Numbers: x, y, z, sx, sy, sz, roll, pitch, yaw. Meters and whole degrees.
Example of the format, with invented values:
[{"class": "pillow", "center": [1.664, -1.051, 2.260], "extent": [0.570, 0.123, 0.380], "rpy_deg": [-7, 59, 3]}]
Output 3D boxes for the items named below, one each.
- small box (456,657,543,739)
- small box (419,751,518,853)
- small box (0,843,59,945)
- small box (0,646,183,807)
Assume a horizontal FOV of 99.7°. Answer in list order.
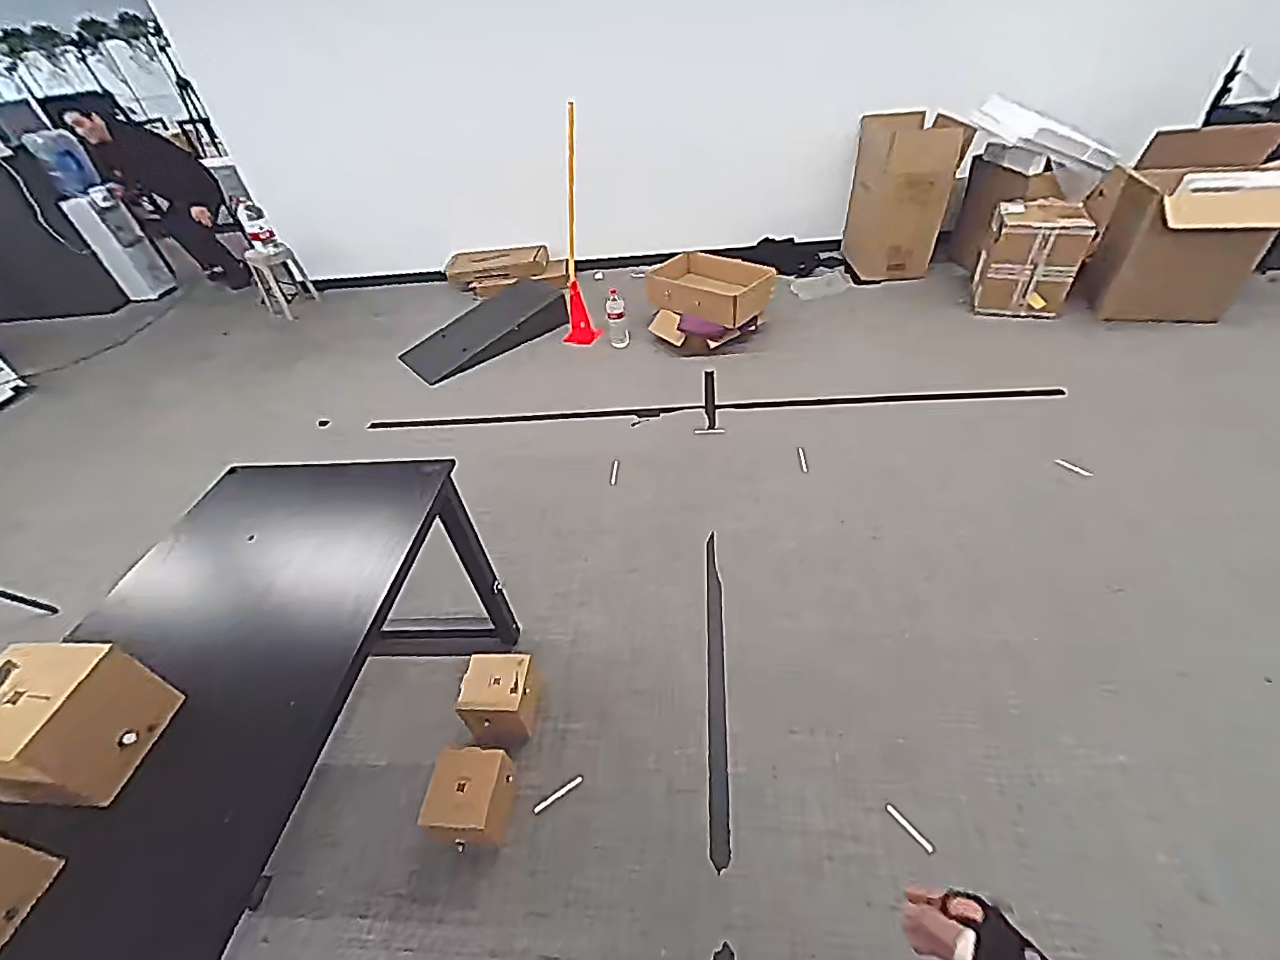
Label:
[{"class": "small box", "center": [-0.392, 0.623, 1.539], "extent": [0.179, 0.176, 0.168], "rpy_deg": [-3, 42, 7]}, {"class": "small box", "center": [-0.415, 0.800, 1.346], "extent": [0.168, 0.176, 0.179], "rpy_deg": [-2, 42, 7]}, {"class": "small box", "center": [-0.874, 0.513, 0.632], "extent": [0.179, 0.176, 0.168], "rpy_deg": [0, 41, 10]}, {"class": "small box", "center": [-0.852, 0.364, 0.798], "extent": [0.179, 0.176, 0.168], "rpy_deg": [-1, 42, 6]}]
